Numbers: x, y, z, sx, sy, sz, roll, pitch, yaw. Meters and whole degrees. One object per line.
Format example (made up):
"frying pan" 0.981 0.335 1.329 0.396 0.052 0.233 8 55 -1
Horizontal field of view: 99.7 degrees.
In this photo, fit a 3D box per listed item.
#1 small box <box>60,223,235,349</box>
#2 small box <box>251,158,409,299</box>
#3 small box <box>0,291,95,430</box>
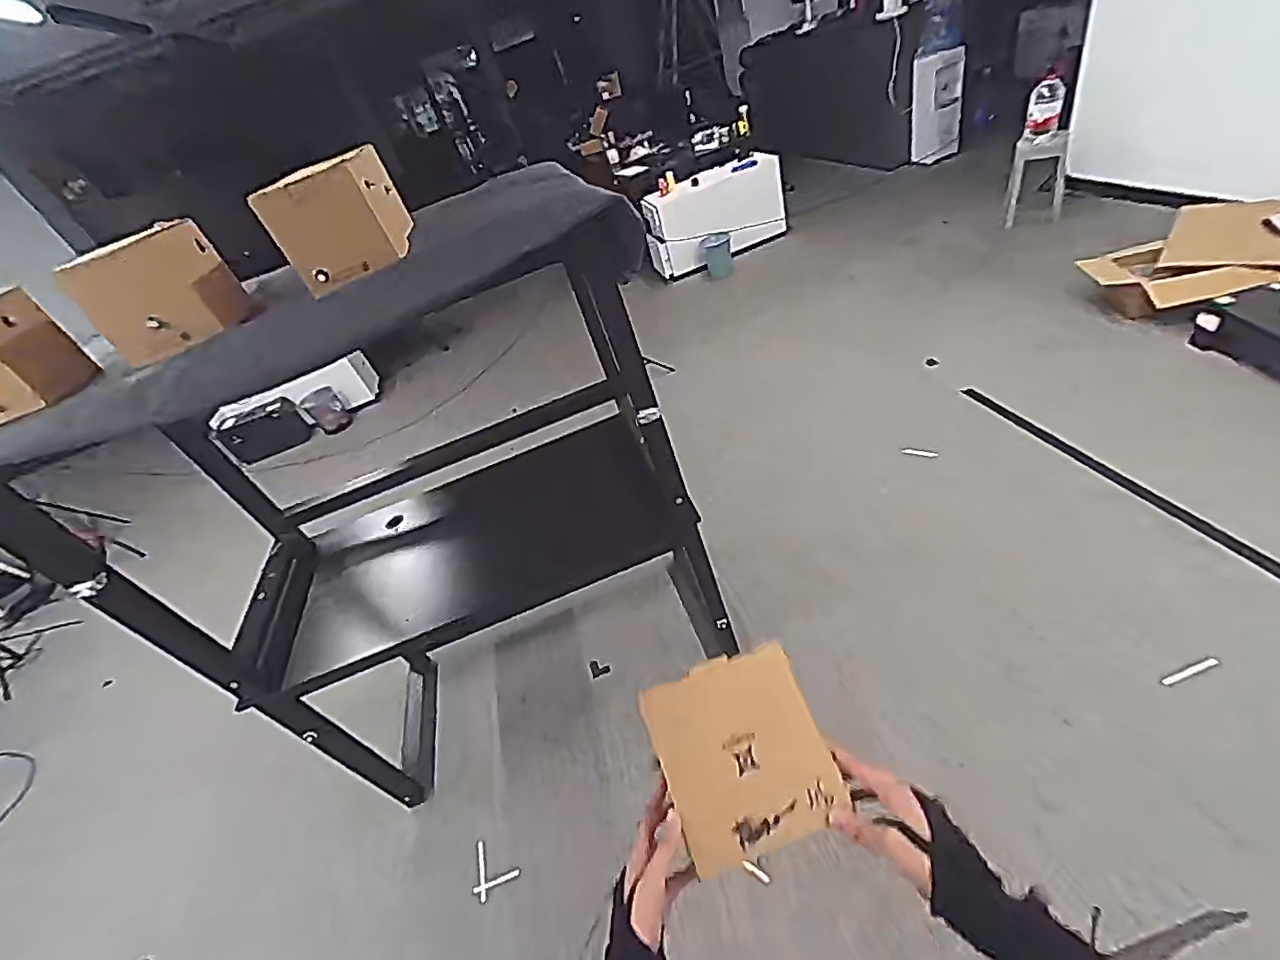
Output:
"small box" -0.982 -0.395 1.103 0.179 0.176 0.168 -24 38 -4
"small box" -0.529 -0.441 0.954 0.168 0.176 0.179 -24 38 -3
"small box" -1.099 -0.192 0.914 0.168 0.176 0.179 -24 38 -5
